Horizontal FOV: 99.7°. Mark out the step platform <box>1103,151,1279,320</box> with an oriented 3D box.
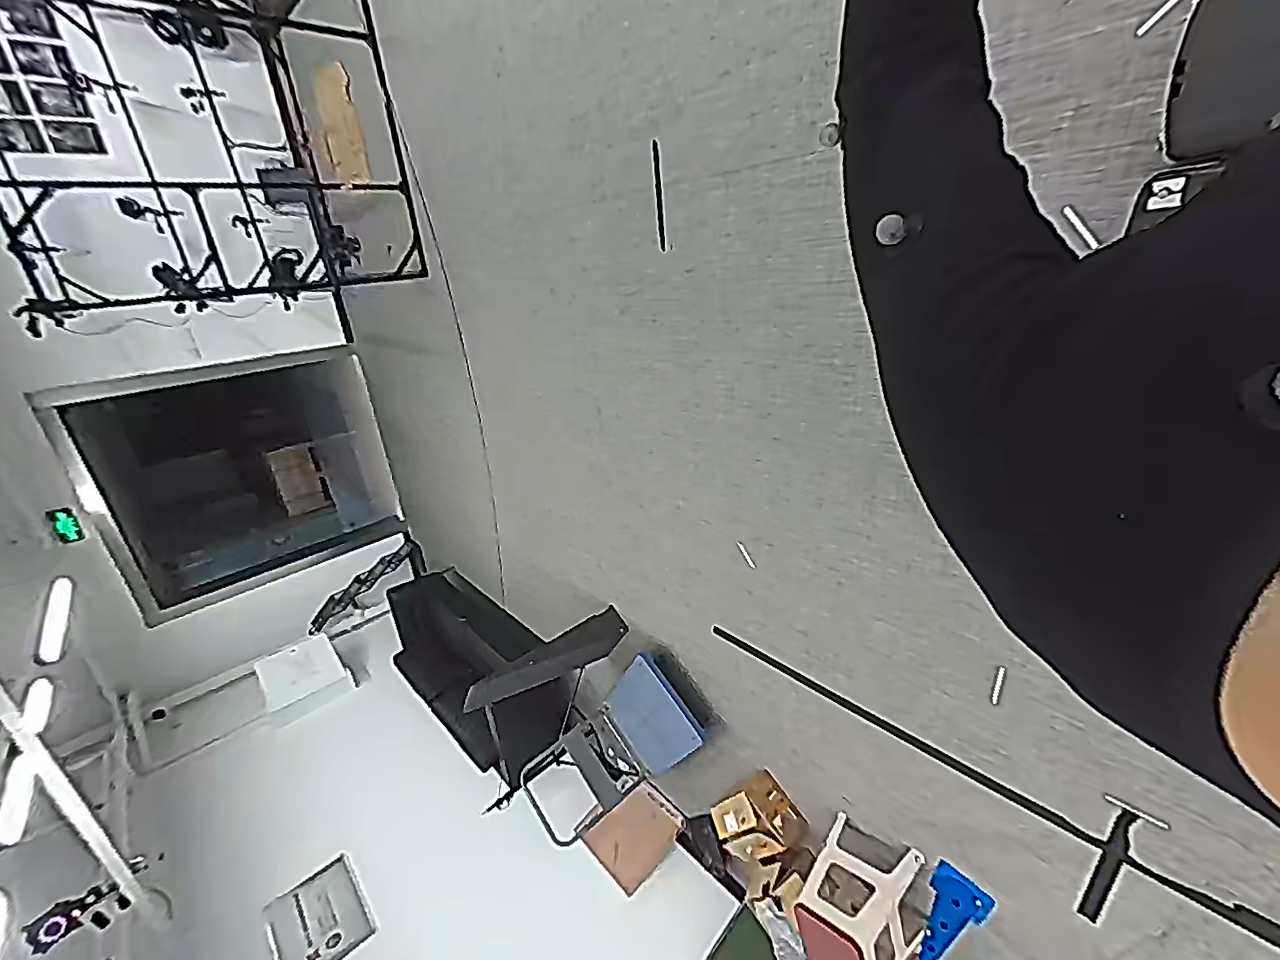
[{"bbox_3d":[1.239,-0.428,0.920,0.684,0.204,0.286,17,121,47],"label":"step platform"}]
